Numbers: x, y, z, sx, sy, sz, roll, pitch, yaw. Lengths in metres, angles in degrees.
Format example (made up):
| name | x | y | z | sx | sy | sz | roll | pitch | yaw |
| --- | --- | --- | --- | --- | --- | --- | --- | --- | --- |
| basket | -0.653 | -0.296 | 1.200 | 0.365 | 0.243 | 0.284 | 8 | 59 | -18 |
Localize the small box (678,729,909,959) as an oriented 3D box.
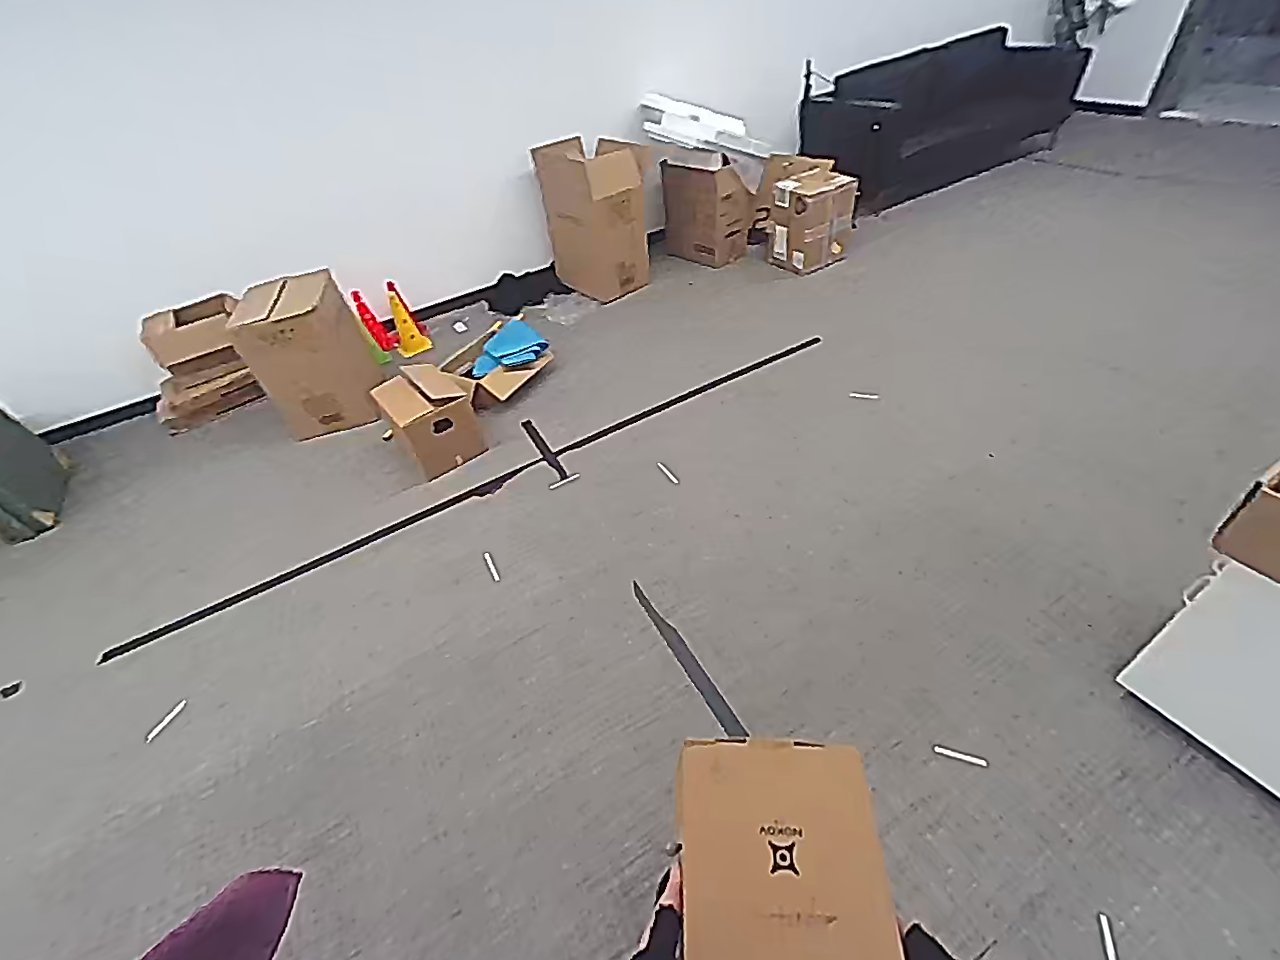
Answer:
| name | x | y | z | sx | sy | sz | roll | pitch | yaw |
| --- | --- | --- | --- | --- | --- | --- | --- | --- | --- |
| small box | 0.122 | 0.357 | 0.506 | 0.168 | 0.176 | 0.179 | 2 | 46 | 3 |
